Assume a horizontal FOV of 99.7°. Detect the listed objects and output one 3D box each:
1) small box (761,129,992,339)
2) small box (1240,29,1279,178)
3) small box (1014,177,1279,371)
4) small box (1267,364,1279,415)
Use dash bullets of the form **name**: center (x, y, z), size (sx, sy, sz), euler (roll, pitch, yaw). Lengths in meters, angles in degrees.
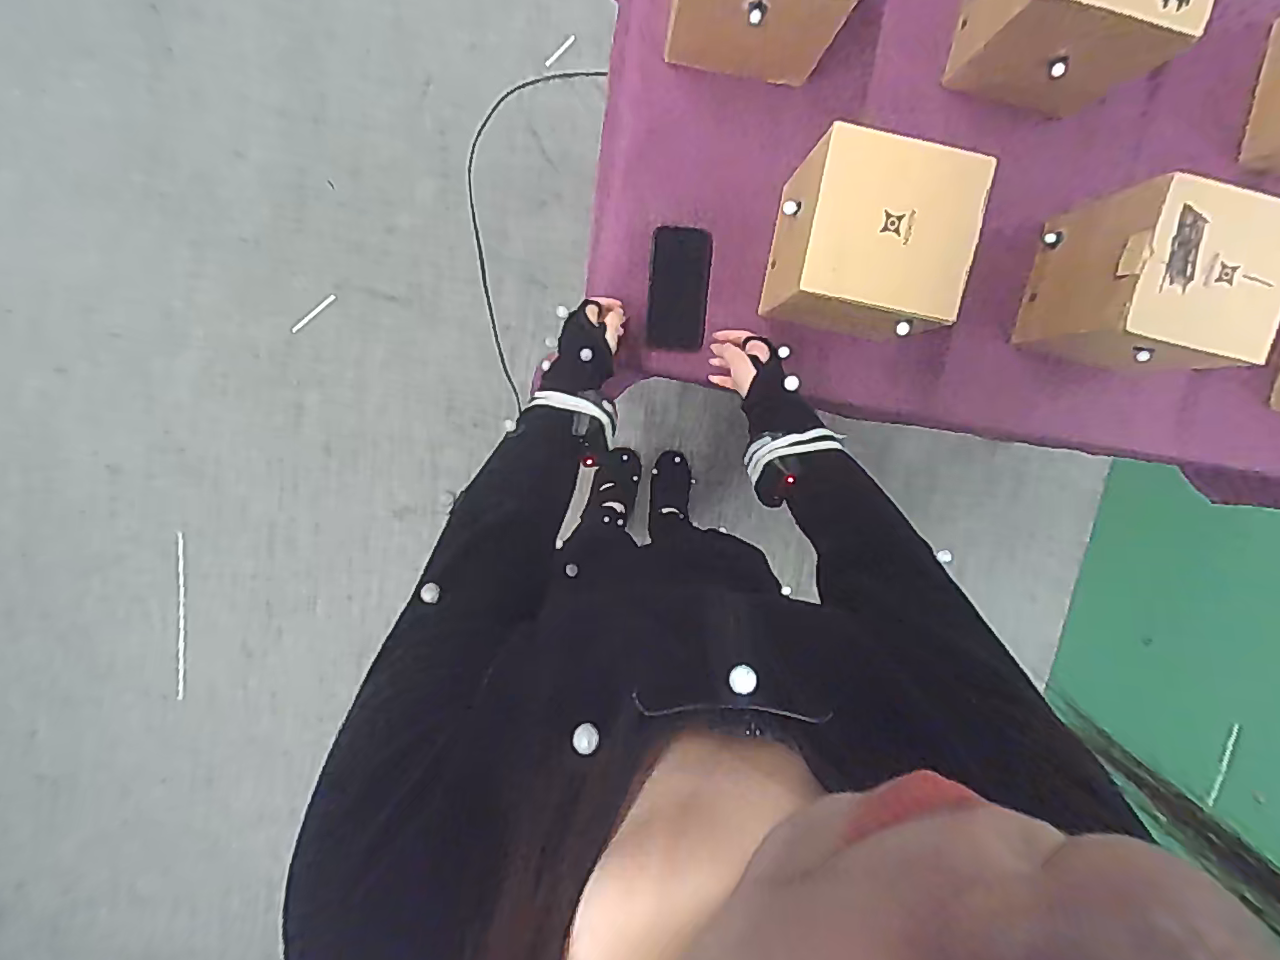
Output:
- **small box**: center (0.257, -0.269, 0.634), size (0.179, 0.176, 0.168), euler (10, 98, -5)
- **small box**: center (0.878, -0.474, 0.629), size (0.168, 0.176, 0.179), euler (6, 99, -3)
- **small box**: center (0.607, -0.230, 0.655), size (0.179, 0.176, 0.168), euler (12, 98, -5)
- **small box**: center (0.988, -0.151, 0.684), size (0.179, 0.176, 0.168), euler (8, 98, -4)
